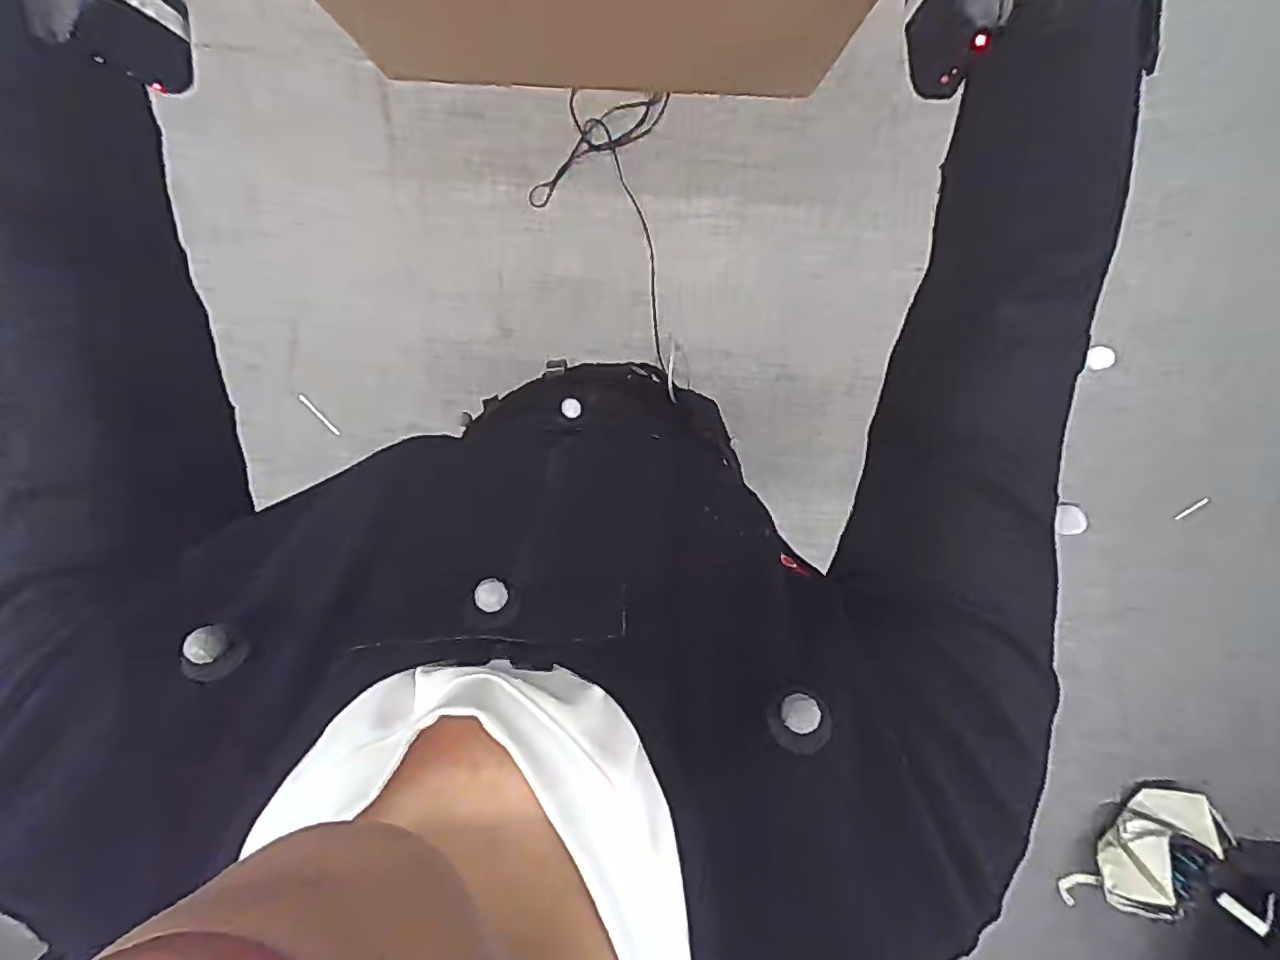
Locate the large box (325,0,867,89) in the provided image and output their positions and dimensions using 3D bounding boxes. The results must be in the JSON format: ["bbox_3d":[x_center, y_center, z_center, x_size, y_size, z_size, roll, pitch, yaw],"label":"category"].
[{"bbox_3d":[-0.032,-0.484,0.333,0.408,0.320,0.320,1,105,-1],"label":"large box"}]
